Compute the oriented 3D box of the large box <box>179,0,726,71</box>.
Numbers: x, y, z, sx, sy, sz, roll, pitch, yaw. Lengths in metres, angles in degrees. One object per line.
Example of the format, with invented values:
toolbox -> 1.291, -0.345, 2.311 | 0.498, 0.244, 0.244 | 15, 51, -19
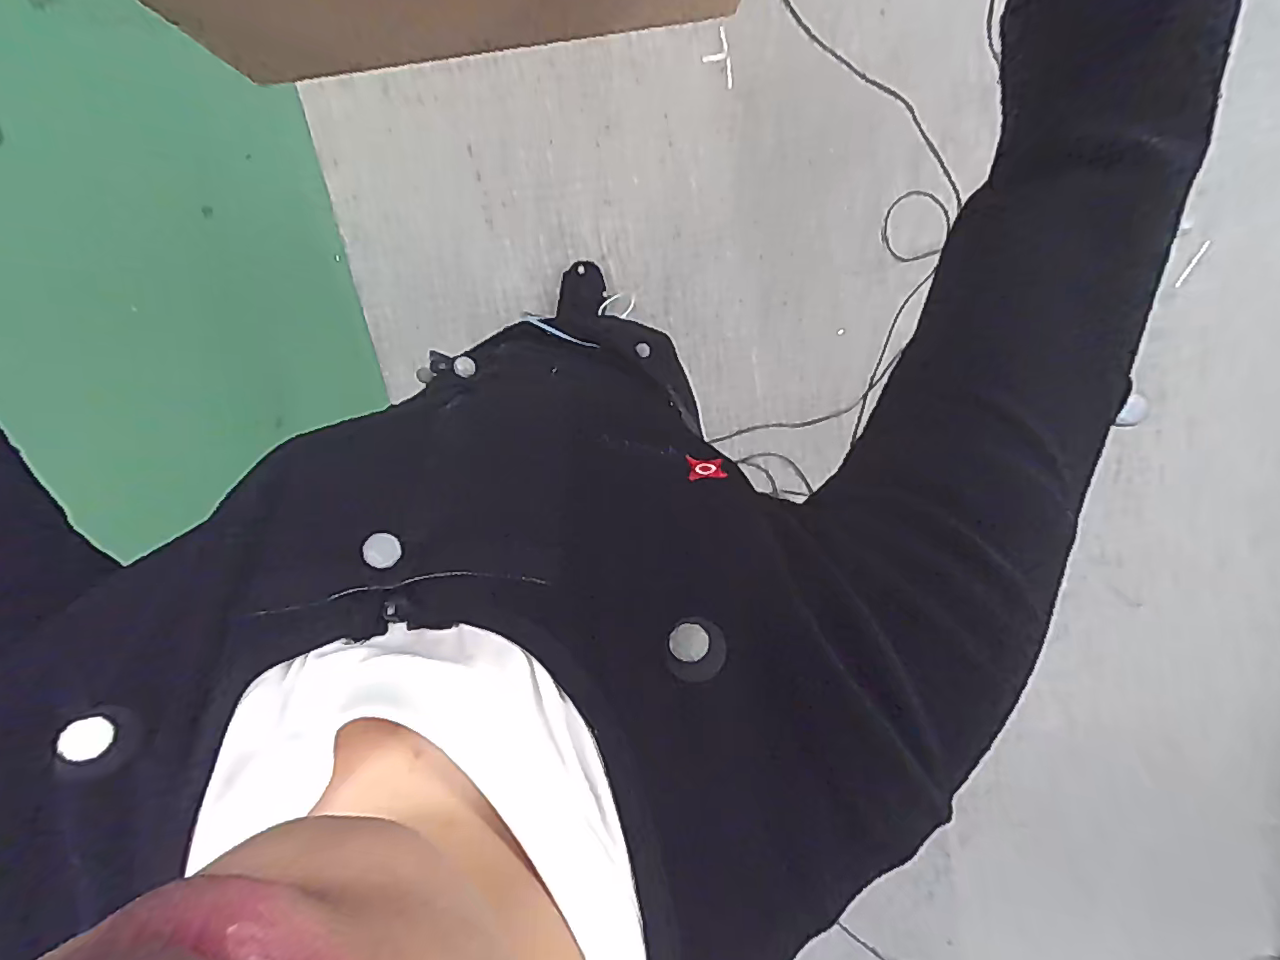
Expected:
large box -> -0.123, -0.471, 0.268 | 0.408, 0.320, 0.320 | -11, 108, -4
